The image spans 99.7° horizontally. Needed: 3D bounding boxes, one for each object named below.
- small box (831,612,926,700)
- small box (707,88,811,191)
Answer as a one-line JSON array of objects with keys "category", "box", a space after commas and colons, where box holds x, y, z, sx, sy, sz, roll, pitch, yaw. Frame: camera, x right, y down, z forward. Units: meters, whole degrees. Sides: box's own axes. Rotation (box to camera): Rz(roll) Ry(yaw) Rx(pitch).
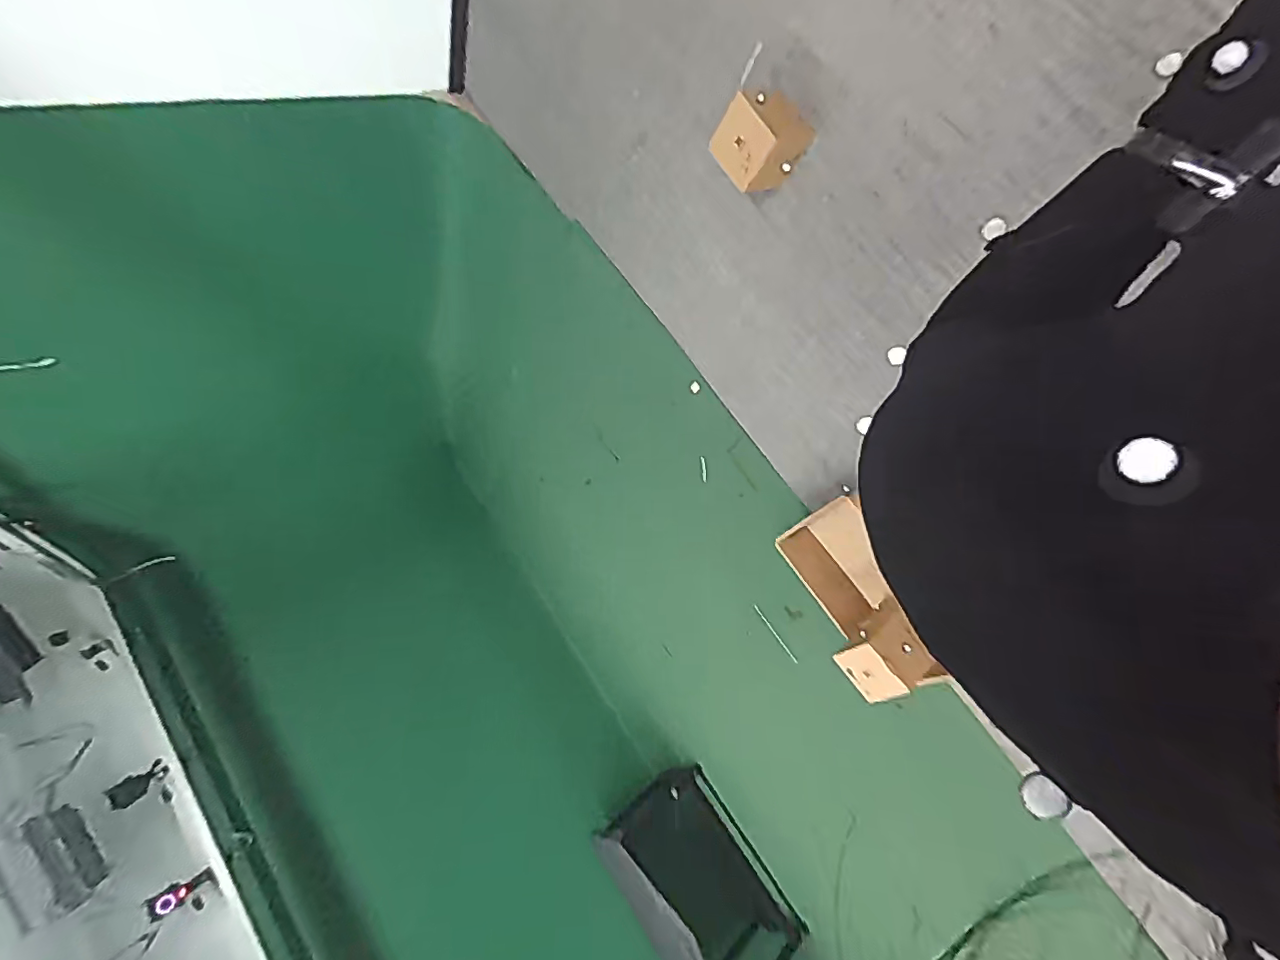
[{"category": "small box", "box": [0.719, 0.523, 1.616, 0.168, 0.176, 0.179, 52, 145, 13]}, {"category": "small box", "box": [0.324, -0.925, 1.470, 0.179, 0.176, 0.168, 57, 148, 7]}]
